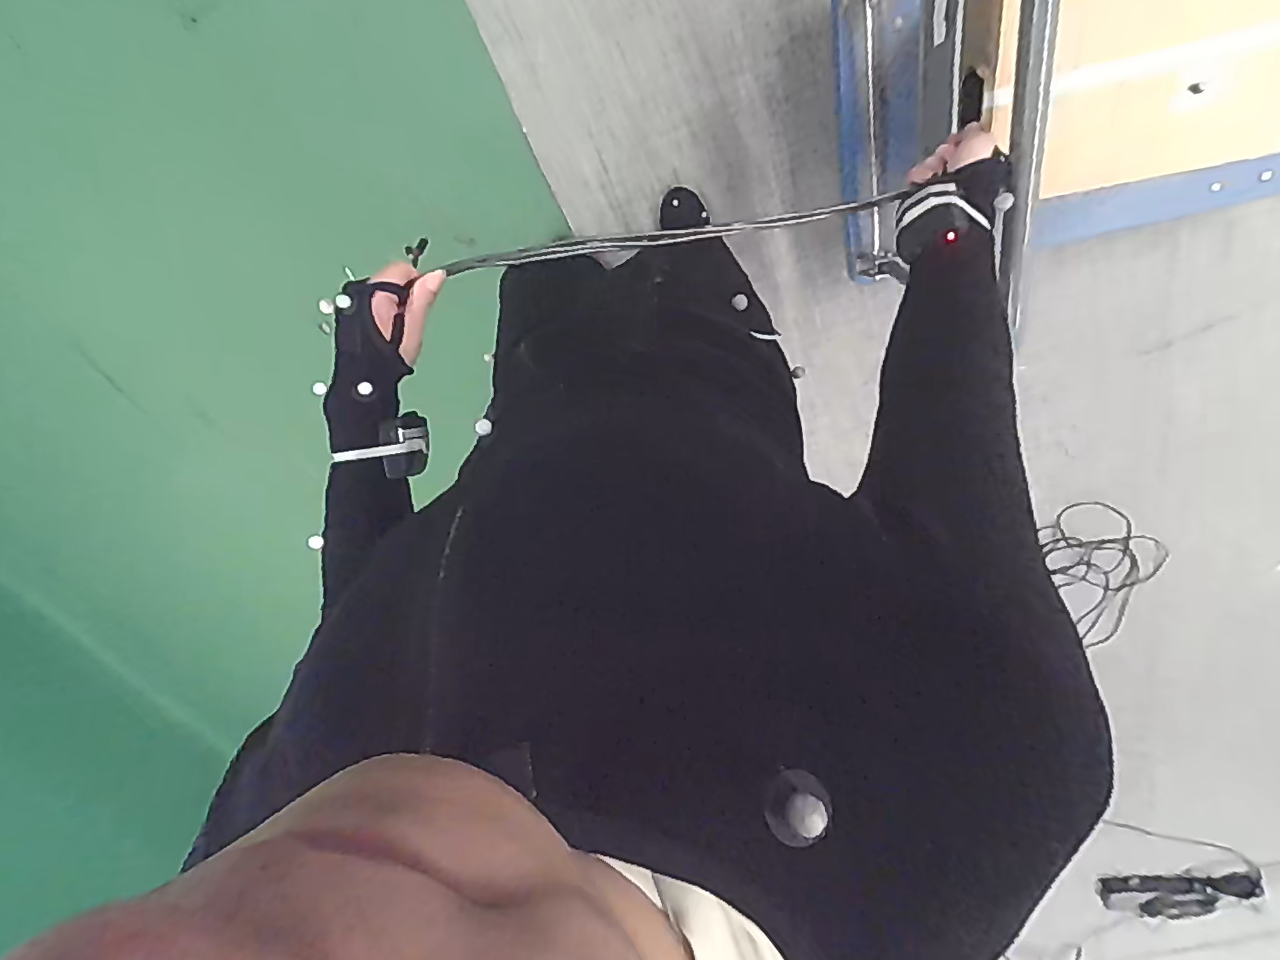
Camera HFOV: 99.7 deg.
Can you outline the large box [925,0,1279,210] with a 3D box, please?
[{"bbox_3d":[0.729,-0.662,0.878,0.408,0.320,0.320,-6,122,11],"label":"large box"}]
